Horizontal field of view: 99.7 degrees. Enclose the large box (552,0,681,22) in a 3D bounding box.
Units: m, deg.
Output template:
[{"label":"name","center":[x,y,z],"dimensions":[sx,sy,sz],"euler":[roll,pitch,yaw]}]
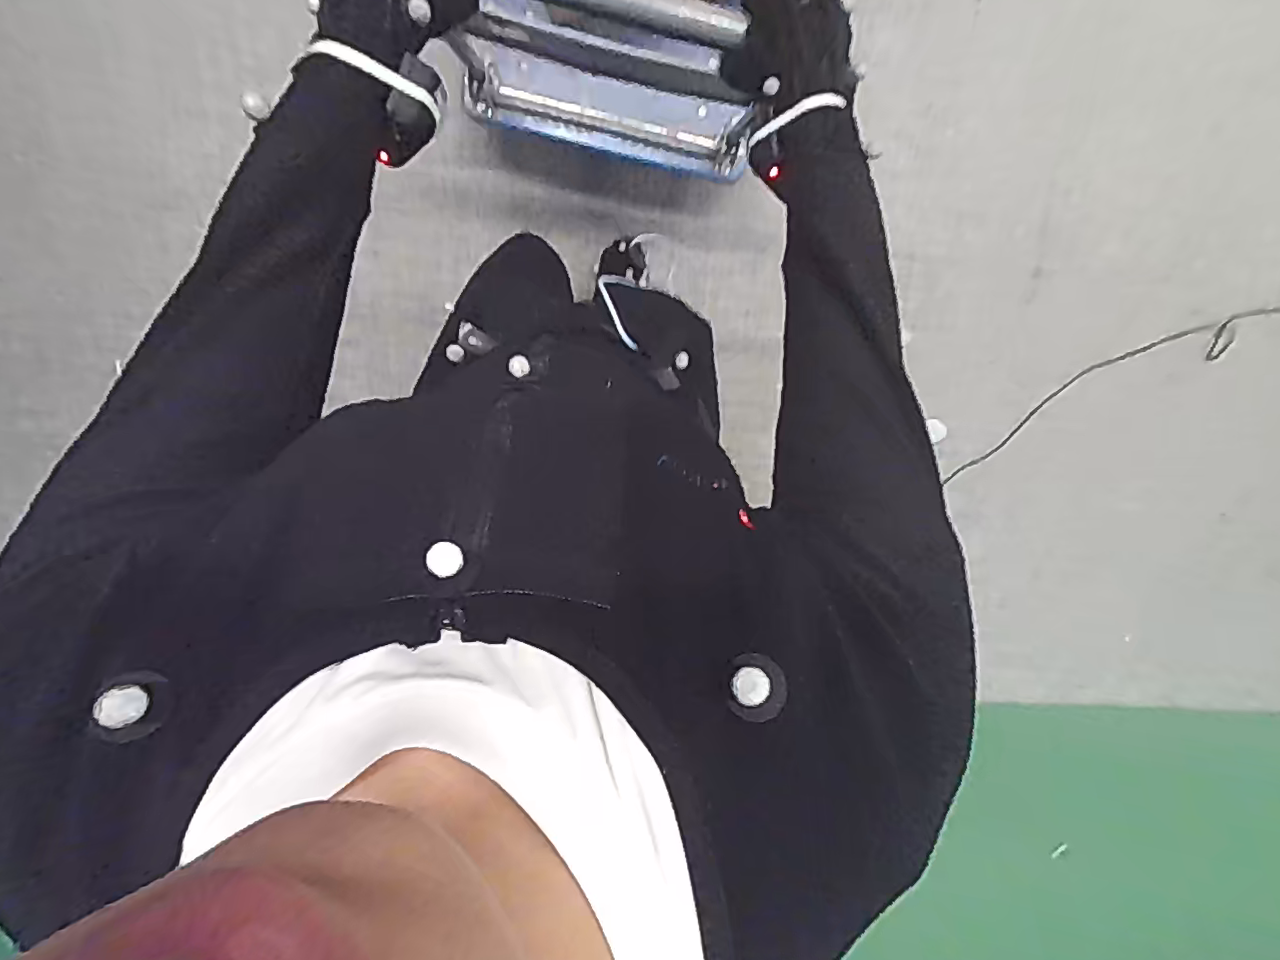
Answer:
[{"label":"large box","center":[0.023,-0.974,0.817],"dimensions":[0.408,0.320,0.320],"euler":[-8,109,2]}]
